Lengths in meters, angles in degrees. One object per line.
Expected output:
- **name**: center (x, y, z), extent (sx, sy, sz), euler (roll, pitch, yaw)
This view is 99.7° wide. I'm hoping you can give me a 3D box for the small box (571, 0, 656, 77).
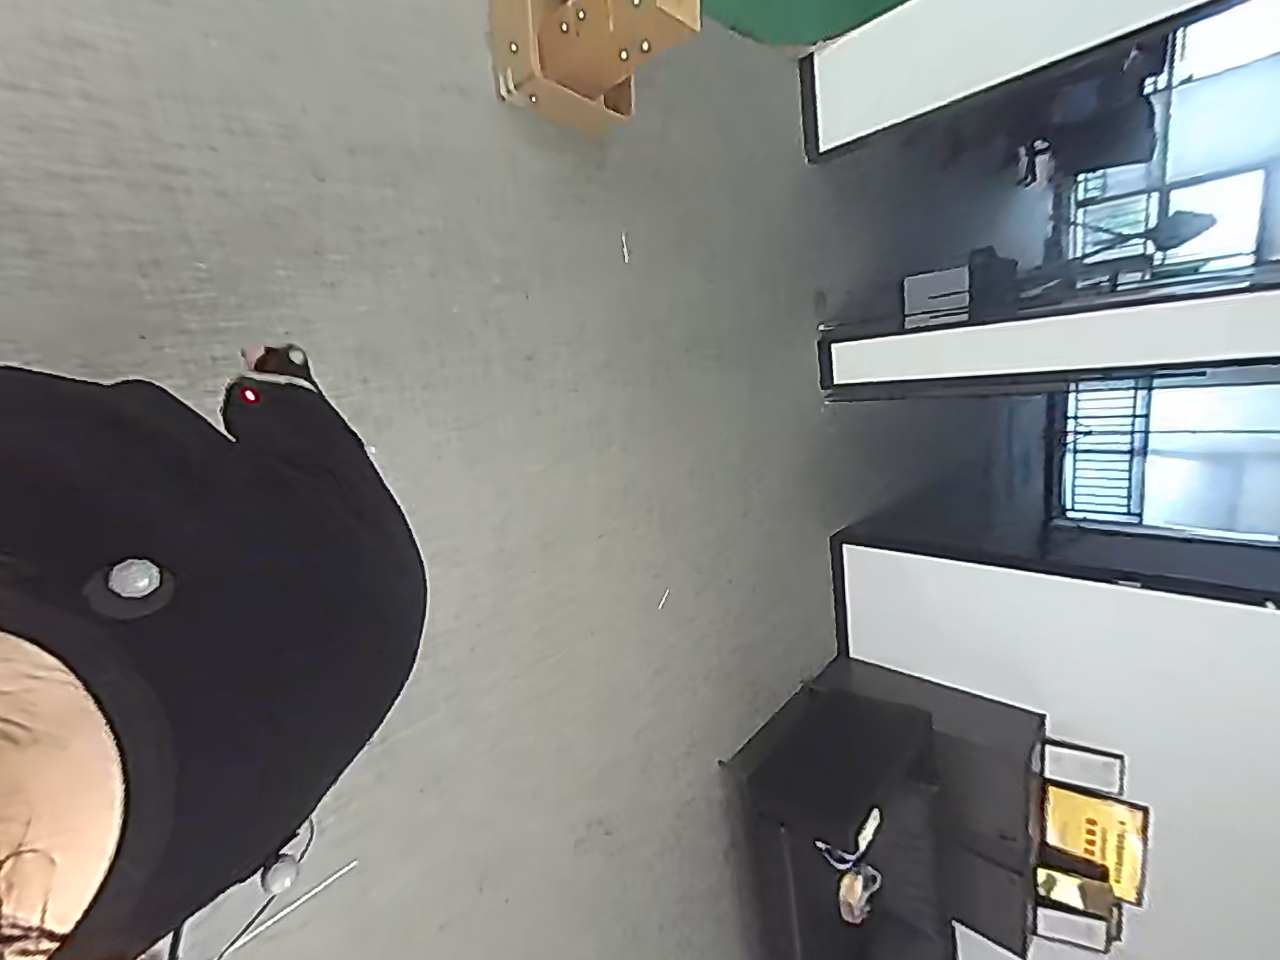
- **small box**: center (-0.075, -1.294, 1.538), extent (0.179, 0.176, 0.168), euler (-10, 101, -43)
